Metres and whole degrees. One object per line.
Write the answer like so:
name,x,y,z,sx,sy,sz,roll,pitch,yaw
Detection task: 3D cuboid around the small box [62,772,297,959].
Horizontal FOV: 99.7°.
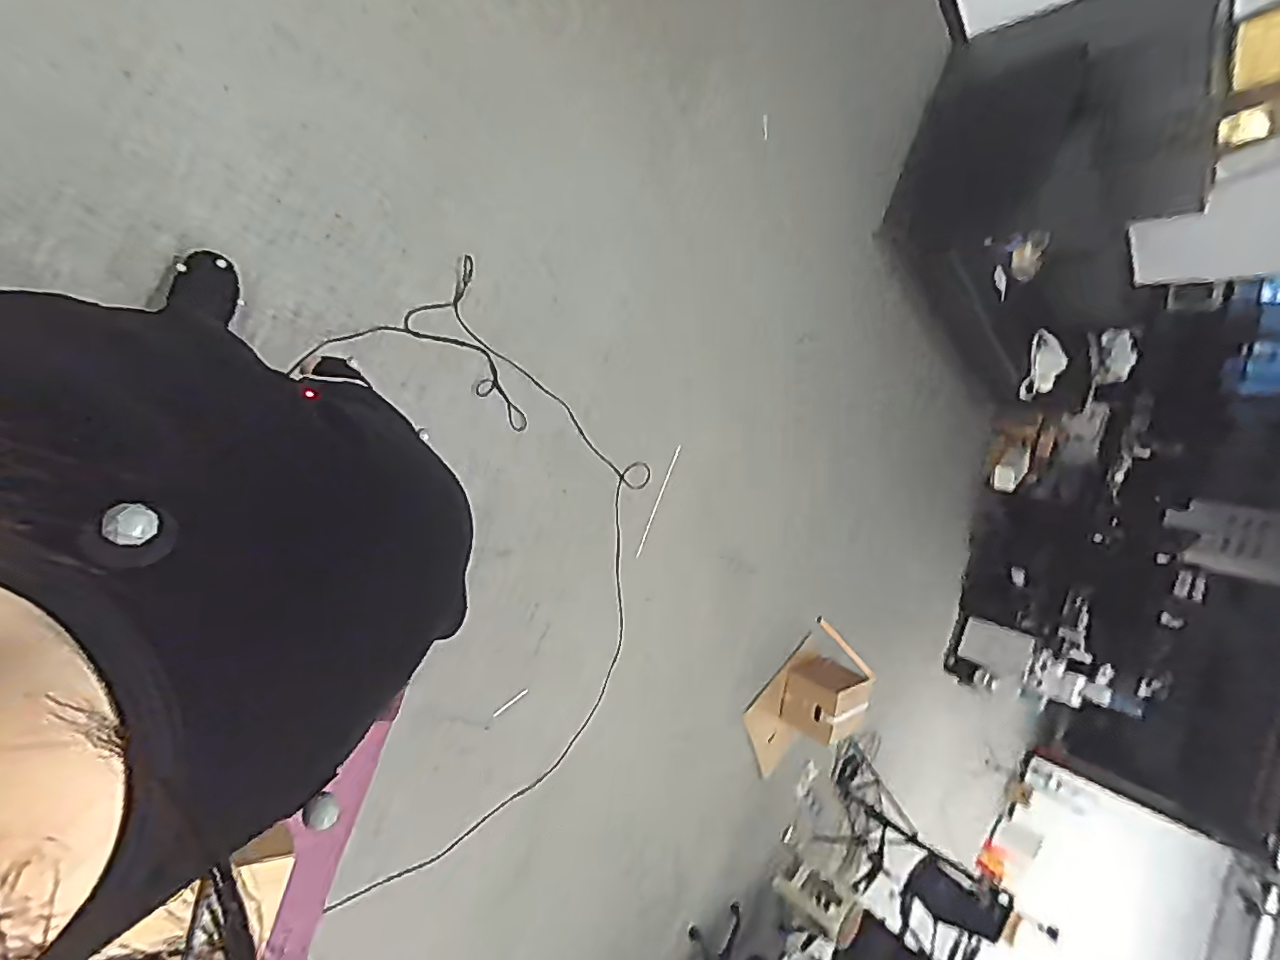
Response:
small box,-0.532,0.465,0.627,0.168,0.176,0.179,20,88,-43
